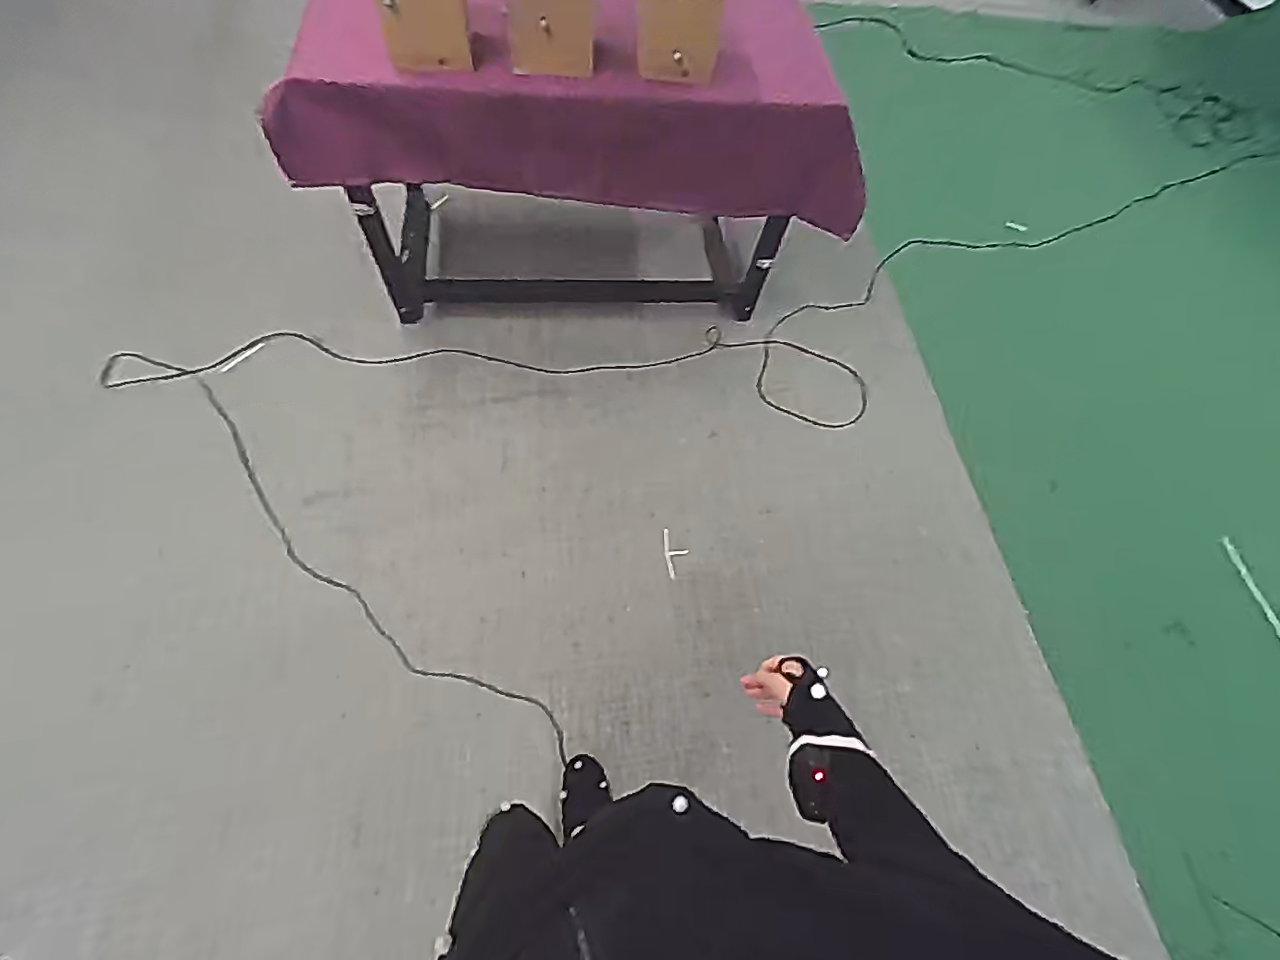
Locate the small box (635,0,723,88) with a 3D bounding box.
[{"bbox_3d":[0.078,-1.004,1.184,0.168,0.176,0.179,1,63,-5],"label":"small box"}]

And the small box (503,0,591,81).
[{"bbox_3d":[-0.196,-0.985,1.149,0.179,0.176,0.168,-4,64,-8],"label":"small box"}]
